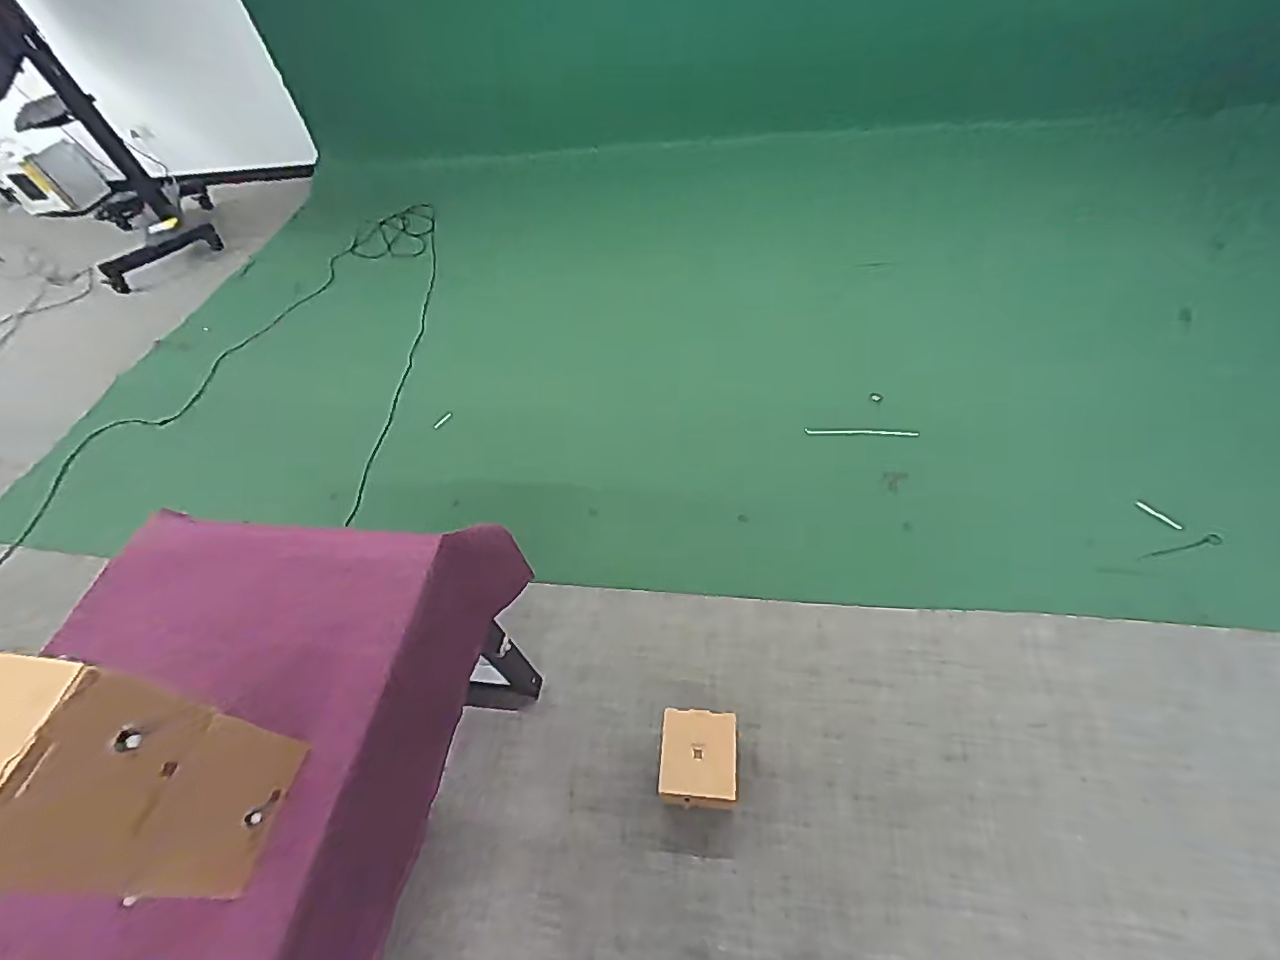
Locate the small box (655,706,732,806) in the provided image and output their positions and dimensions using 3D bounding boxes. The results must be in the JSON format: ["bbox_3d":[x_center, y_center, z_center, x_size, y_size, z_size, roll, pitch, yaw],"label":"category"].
[{"bbox_3d":[0.131,0.645,1.257,0.168,0.176,0.179,1,52,8],"label":"small box"}]

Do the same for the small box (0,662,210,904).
[{"bbox_3d":[-0.567,0.277,0.503,0.179,0.176,0.168,2,53,10],"label":"small box"}]
